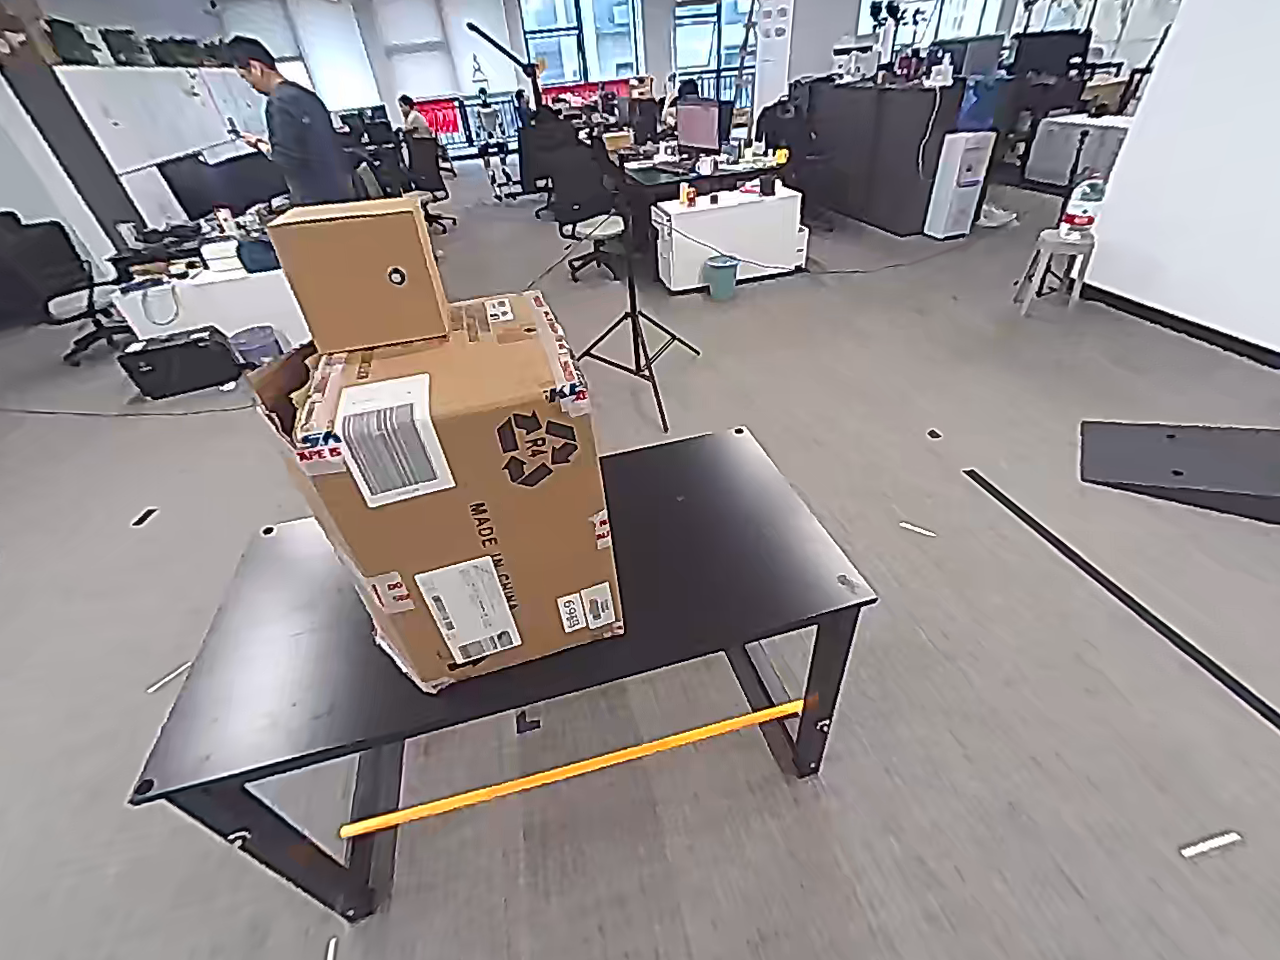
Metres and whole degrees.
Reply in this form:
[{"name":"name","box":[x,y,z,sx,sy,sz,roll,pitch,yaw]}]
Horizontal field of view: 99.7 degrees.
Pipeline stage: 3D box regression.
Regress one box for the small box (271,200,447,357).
[{"name":"small box","box":[-0.388,-0.297,0.788,0.179,0.176,0.168,-14,35,-12]}]
